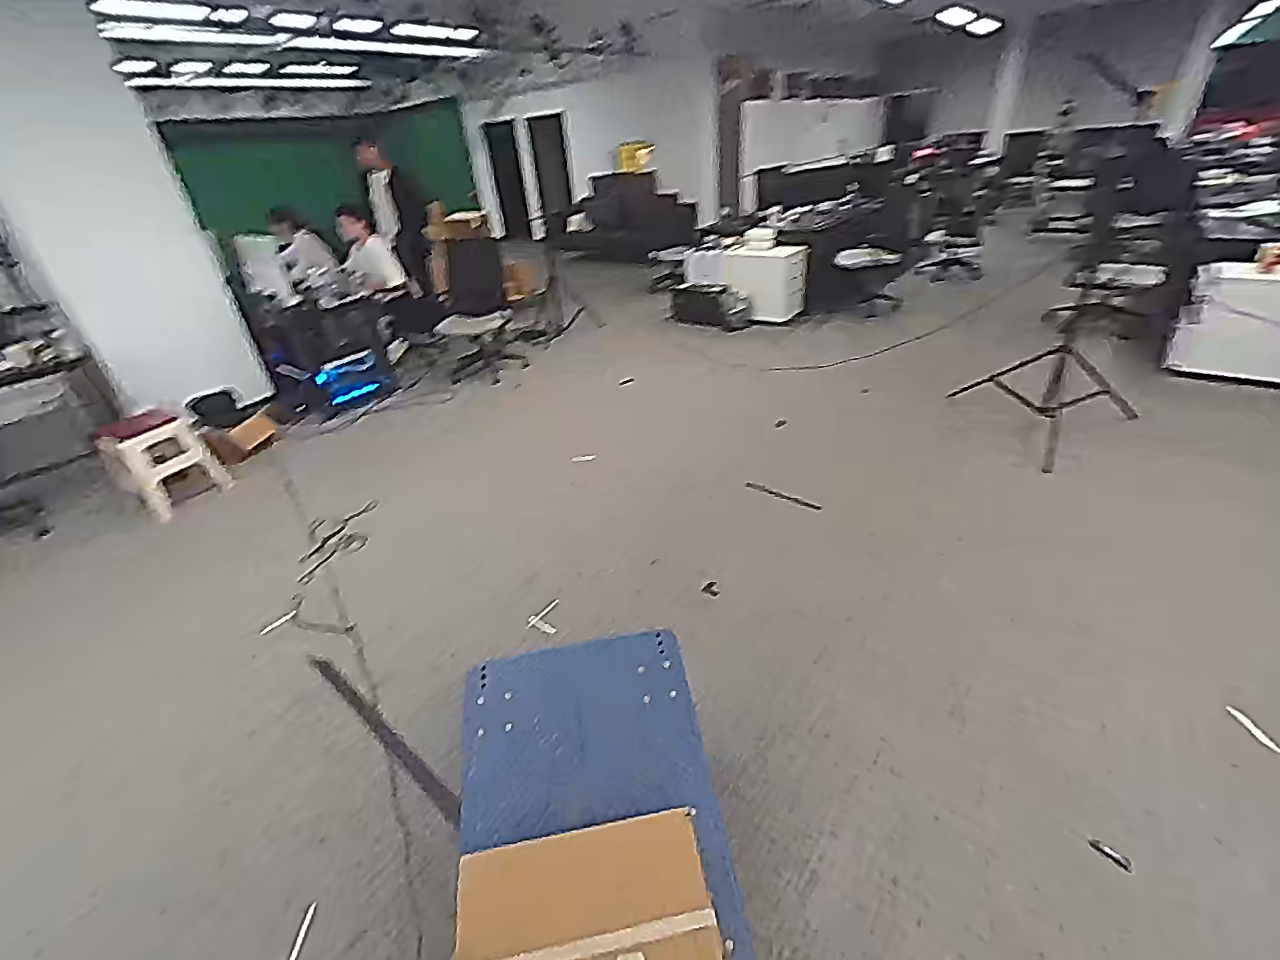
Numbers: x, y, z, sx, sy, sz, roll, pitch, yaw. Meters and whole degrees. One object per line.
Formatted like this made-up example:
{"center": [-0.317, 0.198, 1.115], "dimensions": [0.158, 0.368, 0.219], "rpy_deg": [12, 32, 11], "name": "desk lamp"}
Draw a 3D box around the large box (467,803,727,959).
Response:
{"center": [-0.071, 0.828, 0.962], "dimensions": [0.408, 0.320, 0.320], "rpy_deg": [-9, 48, -7], "name": "large box"}
